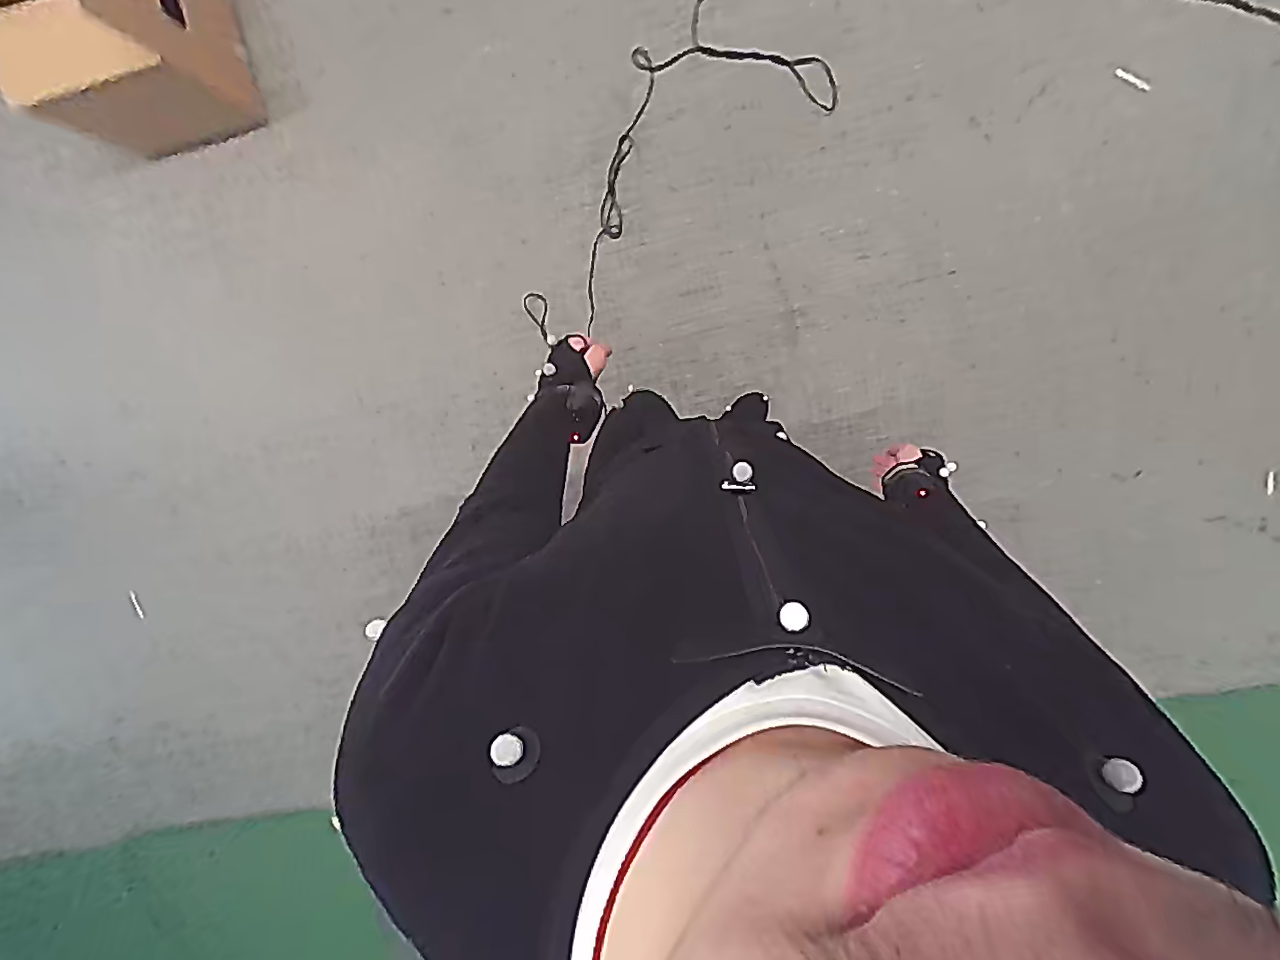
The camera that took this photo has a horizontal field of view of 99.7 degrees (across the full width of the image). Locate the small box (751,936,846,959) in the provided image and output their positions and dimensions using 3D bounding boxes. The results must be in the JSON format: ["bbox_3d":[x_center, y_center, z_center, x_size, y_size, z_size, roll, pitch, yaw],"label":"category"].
[{"bbox_3d":[0.297,0.930,0.927,0.168,0.176,0.179,-16,100,7],"label":"small box"}]
